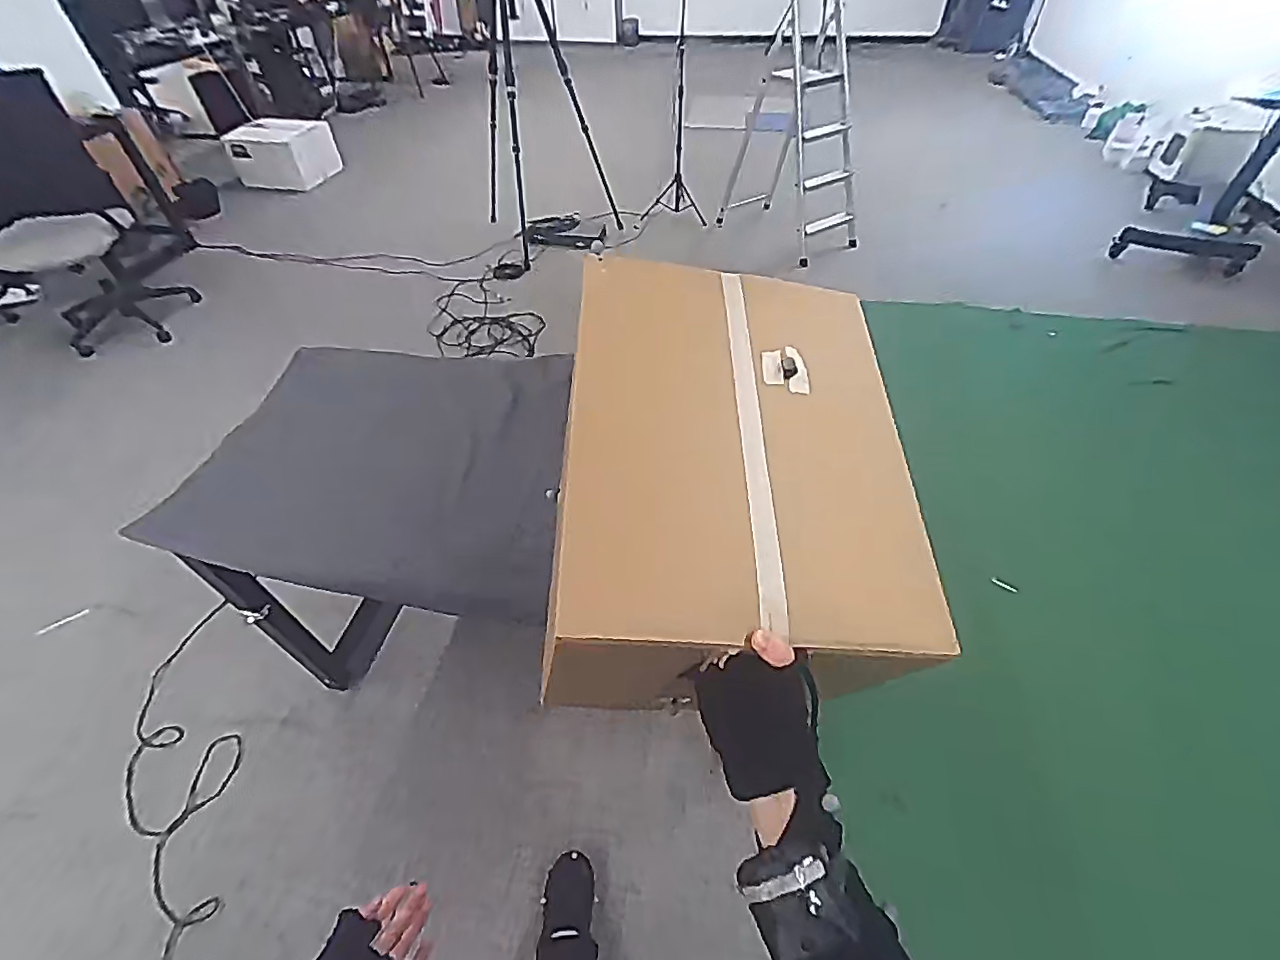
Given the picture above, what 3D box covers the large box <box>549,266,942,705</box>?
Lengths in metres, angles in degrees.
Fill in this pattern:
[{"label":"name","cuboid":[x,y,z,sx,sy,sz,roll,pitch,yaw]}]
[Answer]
[{"label":"large box","cuboid":[0.062,0.024,0.628,0.320,0.320,0.408,6,58,-9]}]
